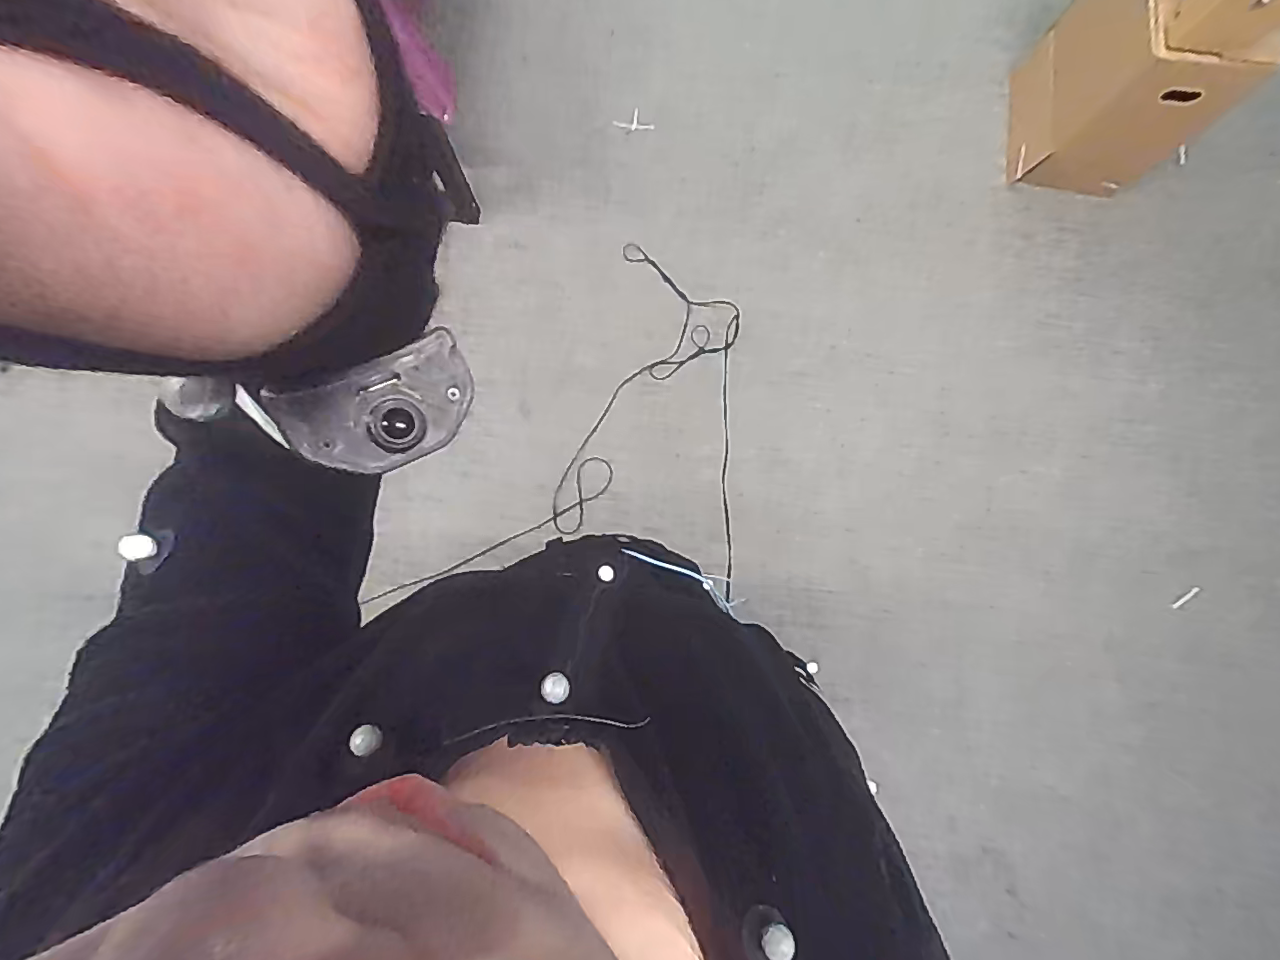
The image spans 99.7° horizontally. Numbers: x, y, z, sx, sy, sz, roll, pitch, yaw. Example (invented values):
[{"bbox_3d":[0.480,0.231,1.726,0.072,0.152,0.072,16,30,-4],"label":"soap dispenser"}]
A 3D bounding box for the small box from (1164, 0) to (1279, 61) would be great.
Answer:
[{"bbox_3d":[1.303,-1.059,1.171,0.179,0.176,0.168,7,82,-1],"label":"small box"}]
